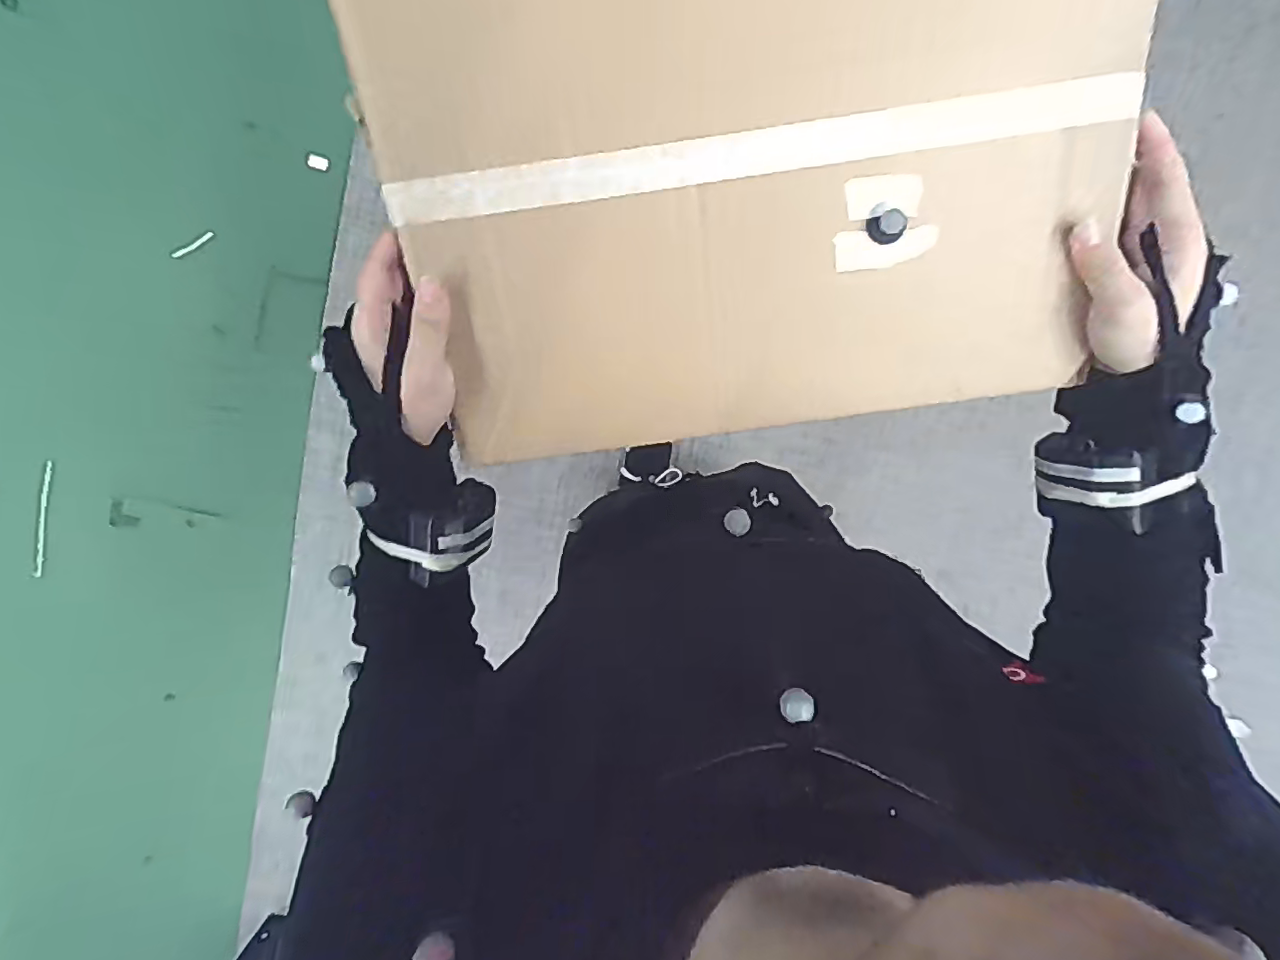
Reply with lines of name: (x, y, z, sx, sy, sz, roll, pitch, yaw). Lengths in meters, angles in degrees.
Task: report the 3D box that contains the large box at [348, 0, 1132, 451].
large box: (0.055, -0.246, 0.435, 0.408, 0.320, 0.320, -10, 114, 0)
